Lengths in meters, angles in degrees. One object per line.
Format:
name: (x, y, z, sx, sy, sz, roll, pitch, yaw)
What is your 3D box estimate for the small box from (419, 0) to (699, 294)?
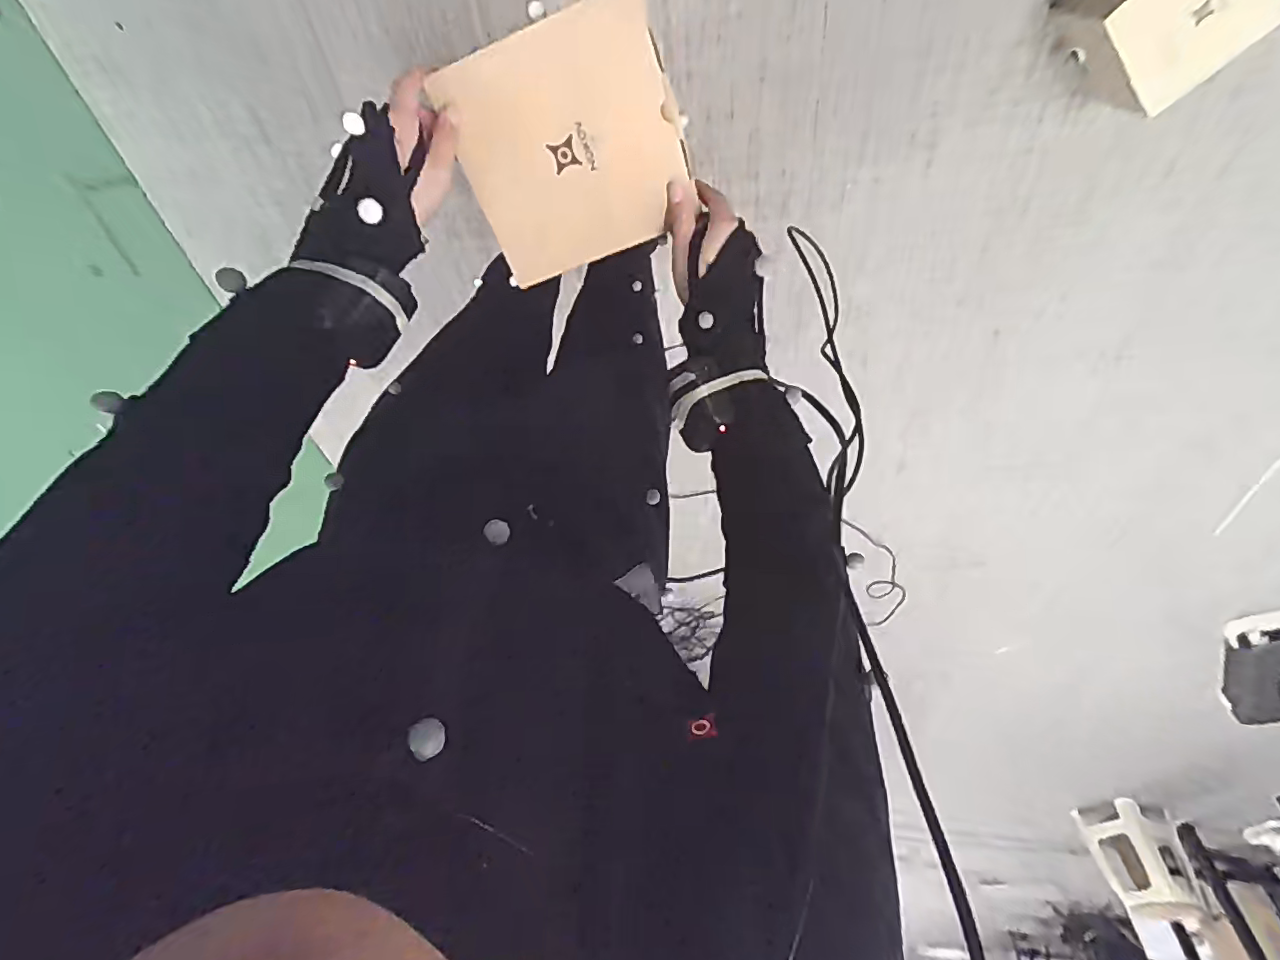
small box: (-0.055, -0.293, 0.489, 0.179, 0.176, 0.168, -17, 122, 12)

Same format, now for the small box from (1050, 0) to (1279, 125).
small box: (0.719, -0.639, 0.739, 0.168, 0.176, 0.179, 35, 128, -23)
